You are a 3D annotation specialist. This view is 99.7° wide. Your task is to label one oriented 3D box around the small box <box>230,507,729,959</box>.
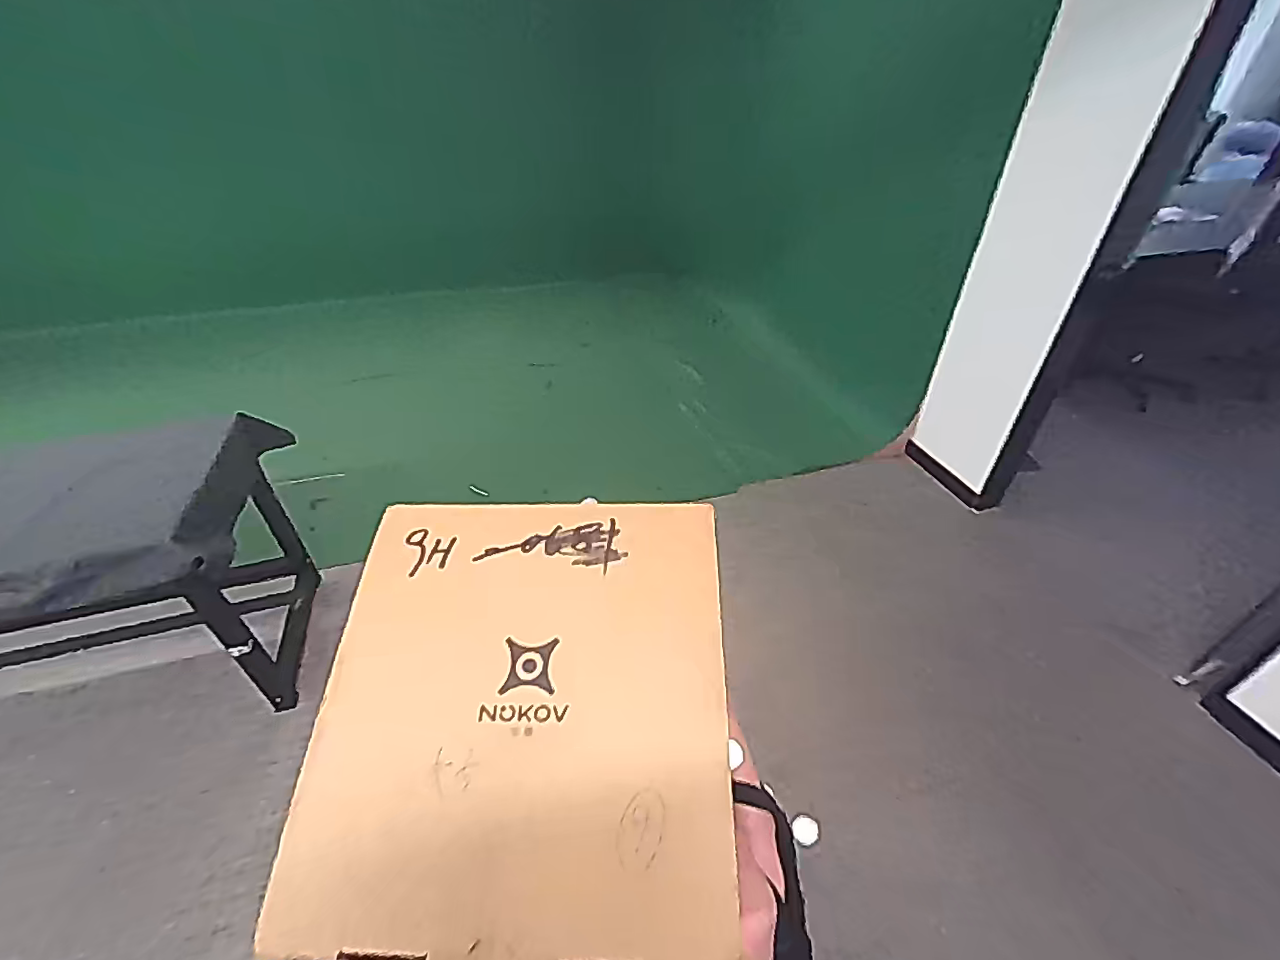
[{"bbox_3d":[-0.048,0.129,0.281,0.168,0.176,0.179,1,59,1],"label":"small box"}]
